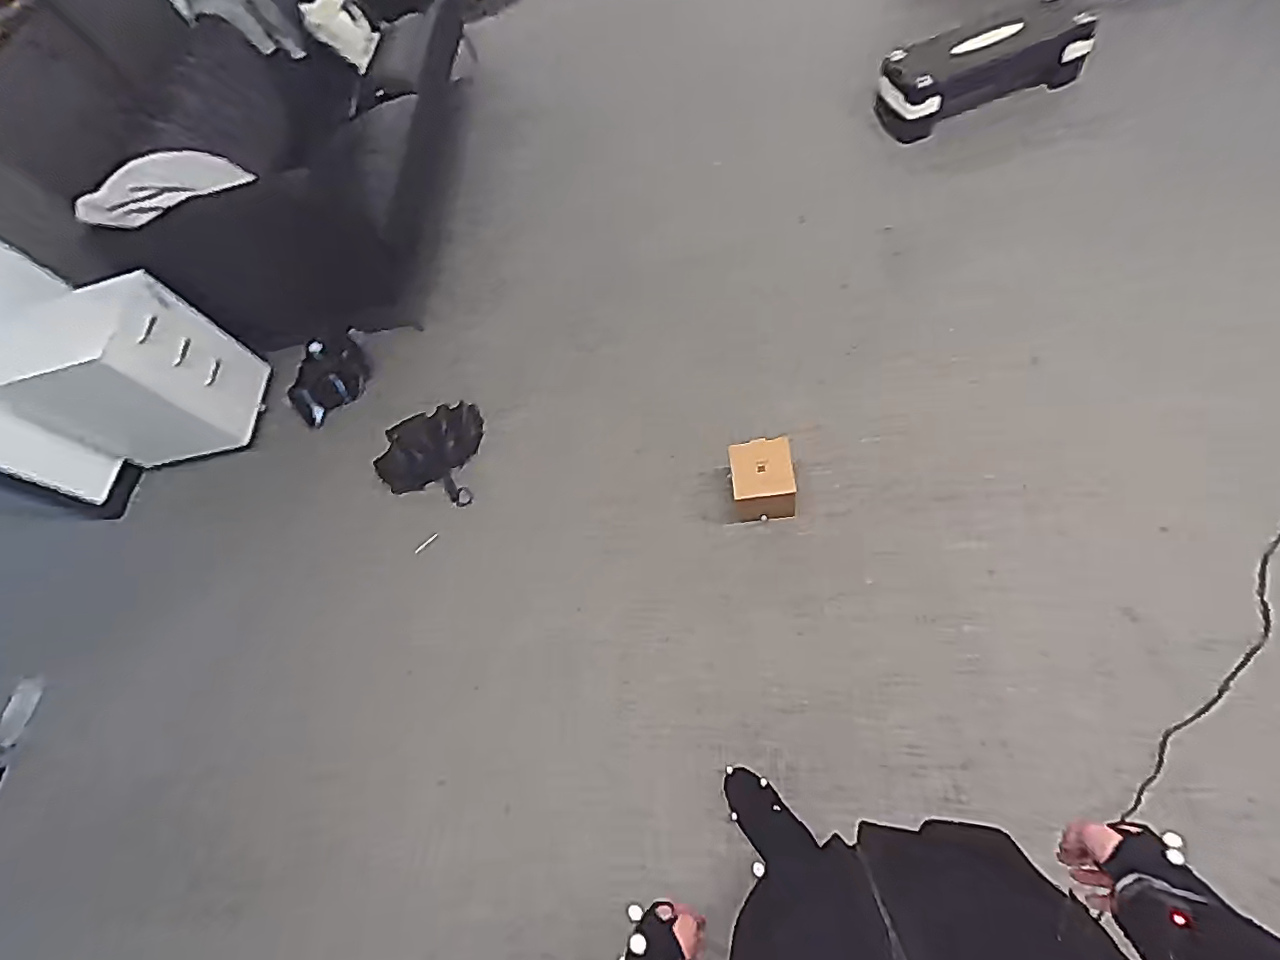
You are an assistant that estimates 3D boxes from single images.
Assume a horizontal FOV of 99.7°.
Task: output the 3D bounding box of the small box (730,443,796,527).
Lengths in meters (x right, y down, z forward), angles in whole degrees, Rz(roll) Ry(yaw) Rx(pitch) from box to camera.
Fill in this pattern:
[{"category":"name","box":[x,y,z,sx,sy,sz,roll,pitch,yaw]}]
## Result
[{"category":"small box","box":[0.353,0.019,1.553,0.168,0.176,0.179,-8,63,13]}]
